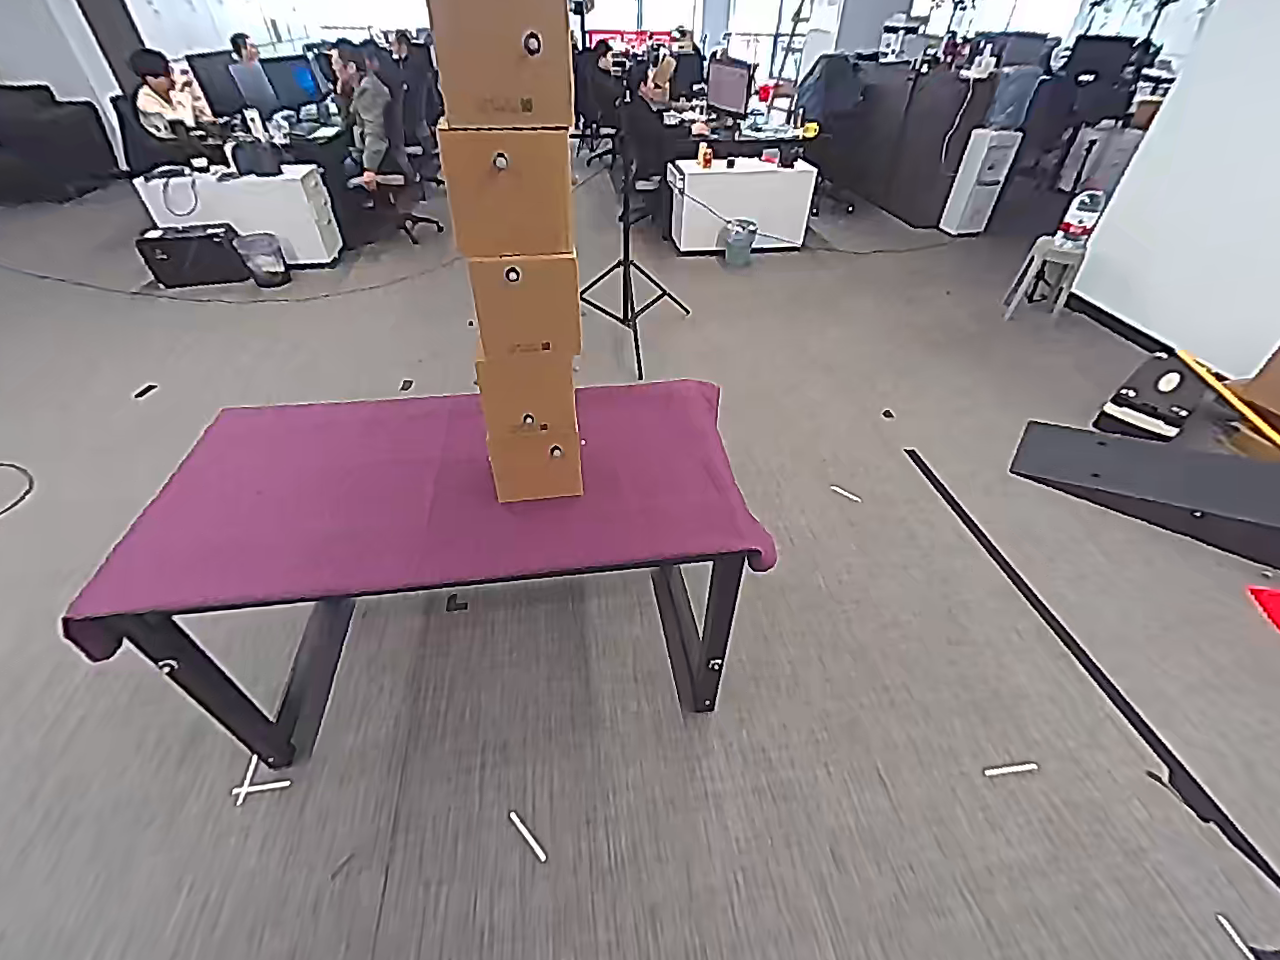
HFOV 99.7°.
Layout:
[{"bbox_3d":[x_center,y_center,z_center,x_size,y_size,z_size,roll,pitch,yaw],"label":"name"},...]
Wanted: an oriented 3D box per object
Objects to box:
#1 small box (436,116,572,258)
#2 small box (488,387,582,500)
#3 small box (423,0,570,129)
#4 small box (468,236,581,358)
[{"bbox_3d":[-0.197,-0.454,0.829,0.179,0.176,0.168,-6,42,-8],"label":"small box"},{"bbox_3d":[-0.215,-0.076,1.140,0.179,0.176,0.168,-6,41,-7],"label":"small box"},{"bbox_3d":[-0.187,-0.579,0.726,0.168,0.176,0.179,-6,41,-10],"label":"small box"},{"bbox_3d":[-0.192,-0.324,0.928,0.168,0.176,0.179,-6,41,-8],"label":"small box"}]
